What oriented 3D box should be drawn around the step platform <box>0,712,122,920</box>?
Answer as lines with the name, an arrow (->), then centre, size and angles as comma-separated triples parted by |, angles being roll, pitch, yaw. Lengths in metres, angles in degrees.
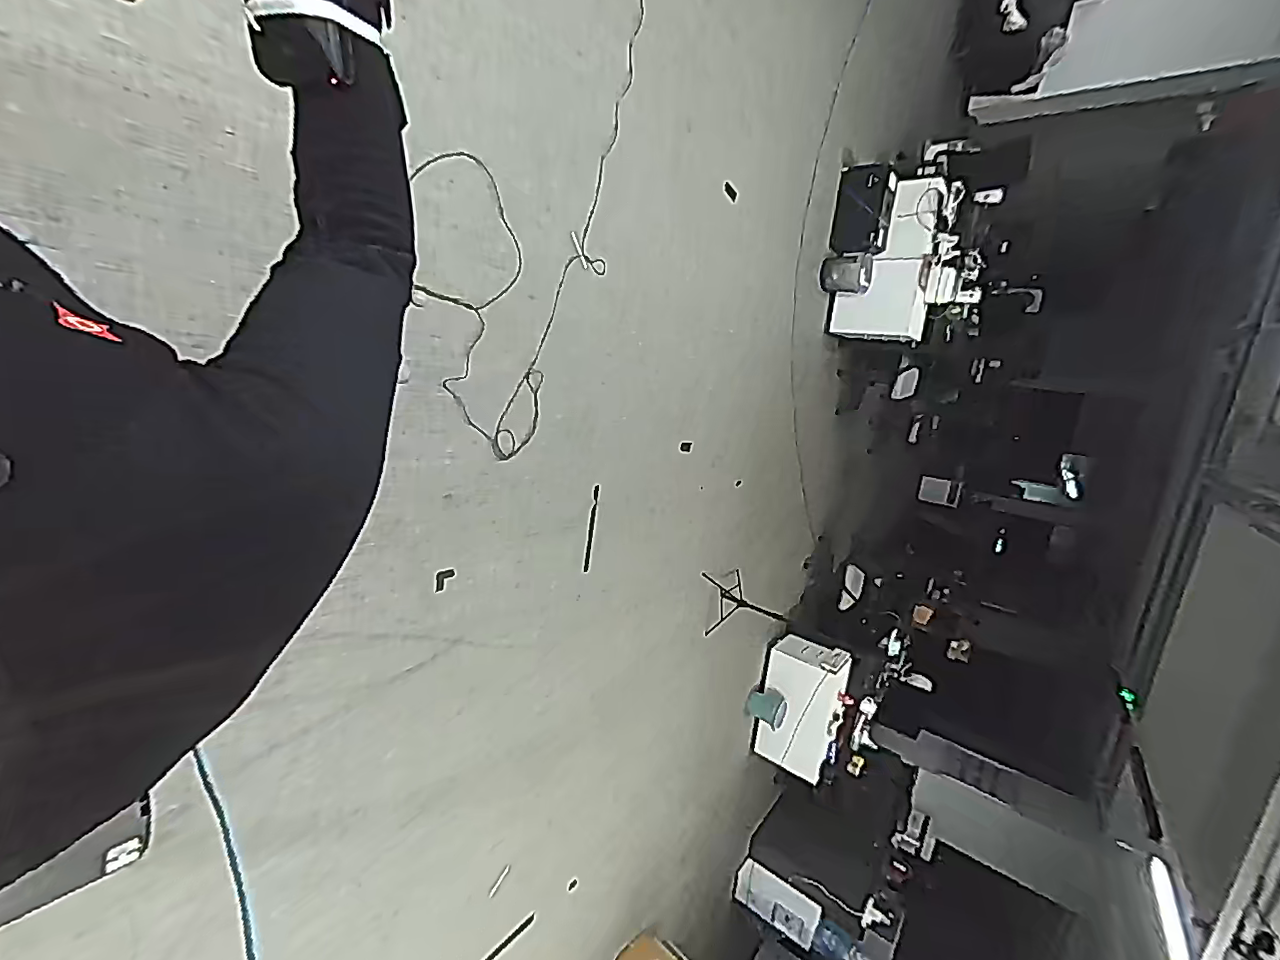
step platform -> -1.329, 0.682, 0.894 | 0.684, 0.204, 0.286 | -11, 111, -51
